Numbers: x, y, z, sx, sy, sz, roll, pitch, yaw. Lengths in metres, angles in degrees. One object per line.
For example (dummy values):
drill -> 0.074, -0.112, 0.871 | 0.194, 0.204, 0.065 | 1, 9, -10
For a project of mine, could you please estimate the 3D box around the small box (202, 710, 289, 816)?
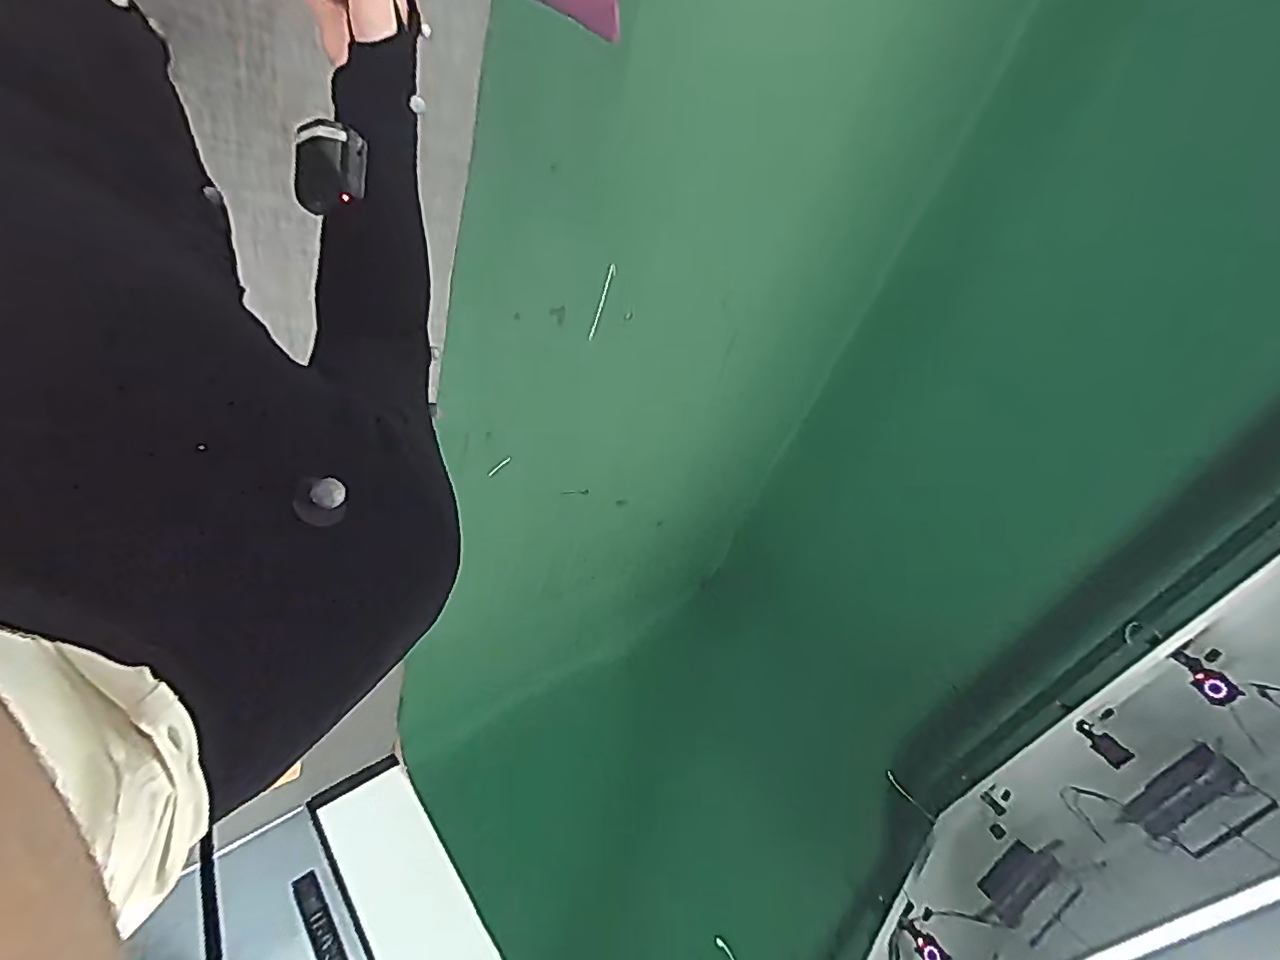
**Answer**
small box -> -1.127, 0.799, 1.541 | 0.168, 0.176, 0.179 | -11, 134, -48

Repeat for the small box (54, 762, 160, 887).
small box -> -1.308, 0.830, 1.326 | 0.168, 0.176, 0.179 | -7, 132, -49

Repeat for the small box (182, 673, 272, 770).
small box -> -1.239, 0.713, 1.621 | 0.179, 0.176, 0.168 | -11, 134, -49
